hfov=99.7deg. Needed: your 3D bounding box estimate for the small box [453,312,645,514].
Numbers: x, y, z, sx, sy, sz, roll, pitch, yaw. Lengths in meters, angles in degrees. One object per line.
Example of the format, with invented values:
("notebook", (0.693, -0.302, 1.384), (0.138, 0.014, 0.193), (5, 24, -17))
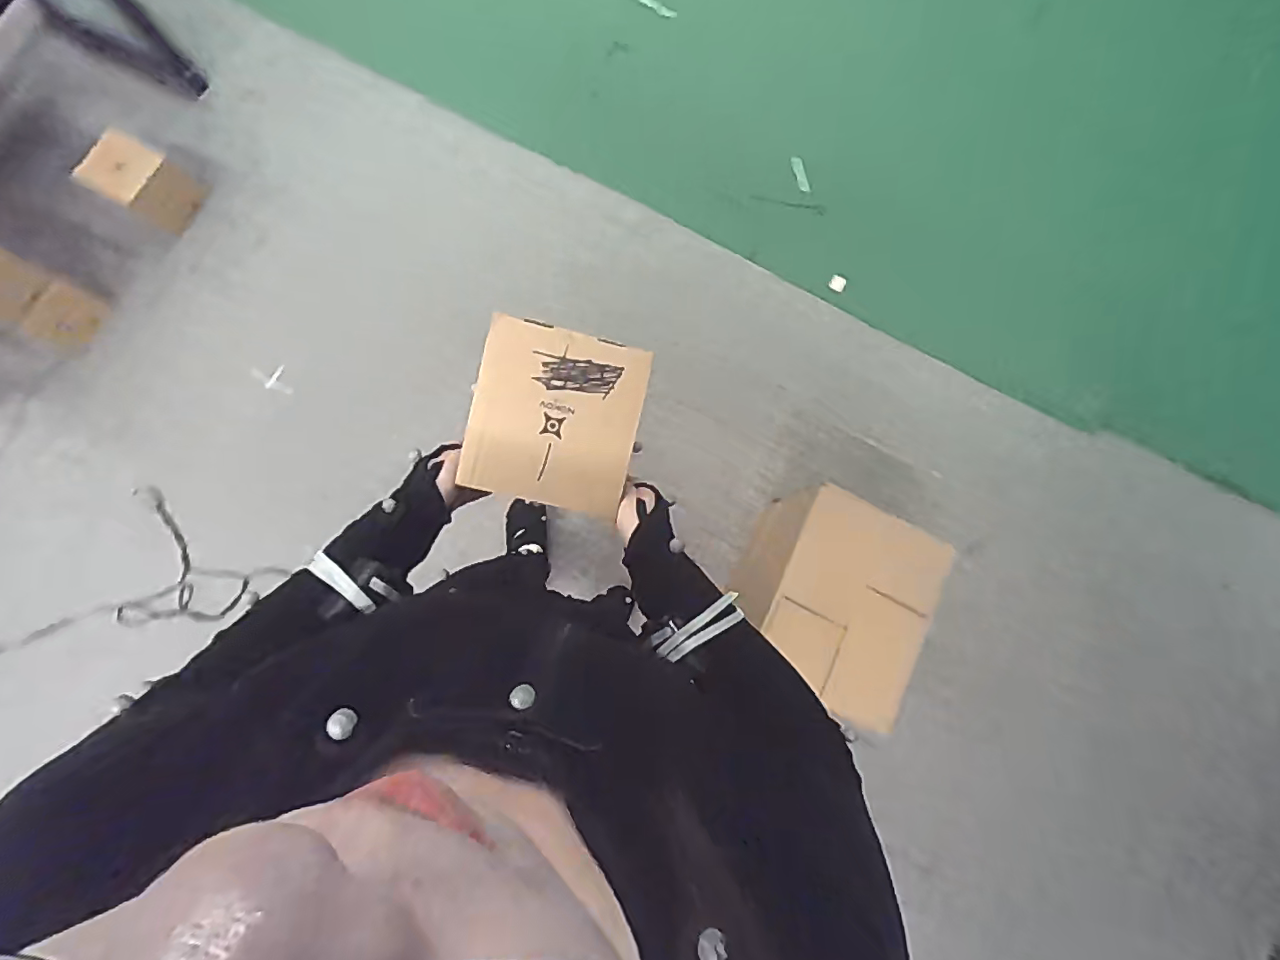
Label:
("small box", (-0.100, -0.073, 0.629), (0.168, 0.176, 0.179), (13, 94, -7))
